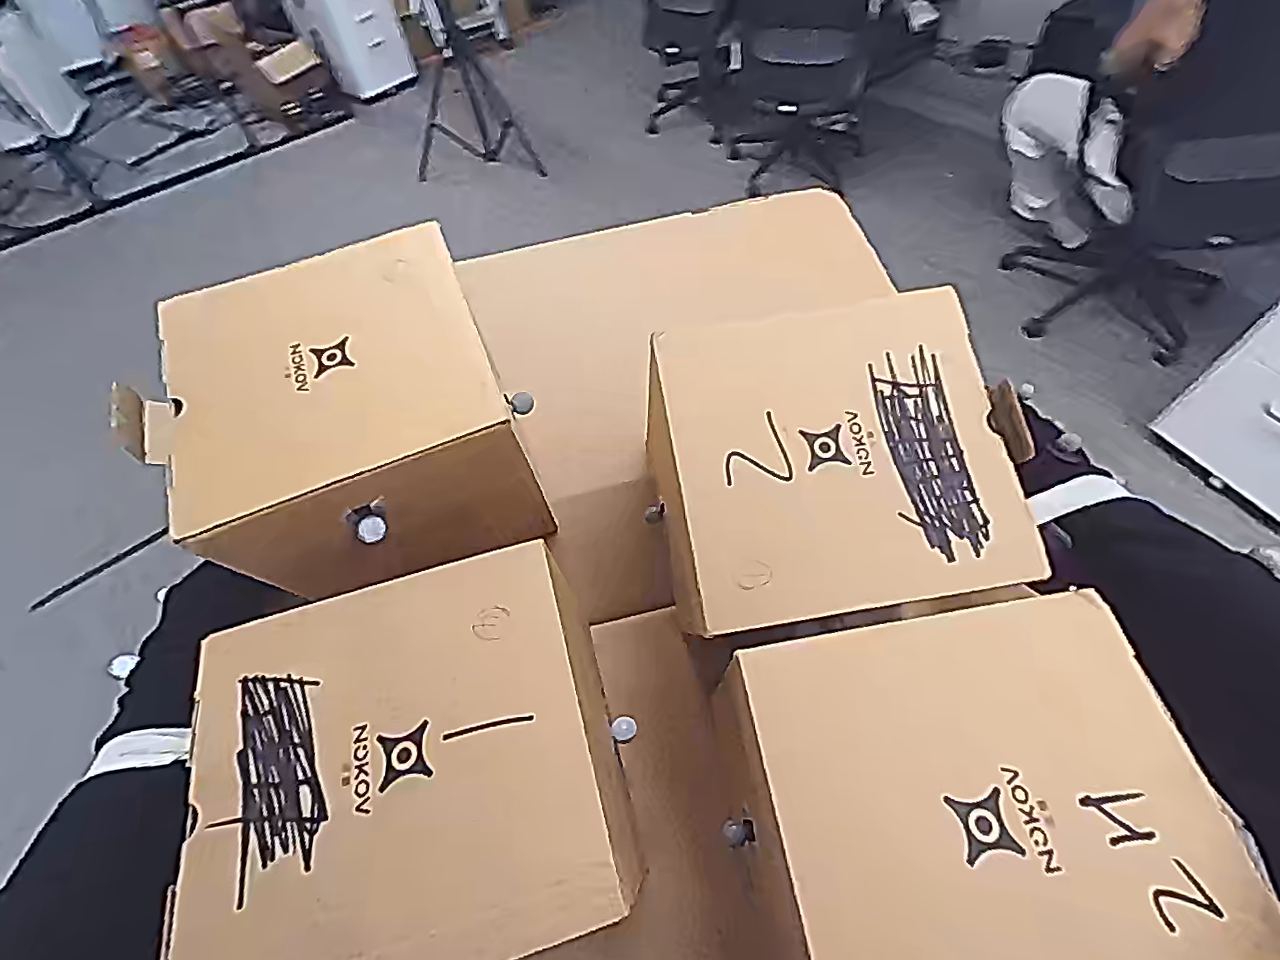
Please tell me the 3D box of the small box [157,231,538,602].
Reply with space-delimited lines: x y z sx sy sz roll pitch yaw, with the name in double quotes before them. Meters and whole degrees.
"small box" -0.183 -0.032 0.386 0.179 0.176 0.168 -23 67 -7
